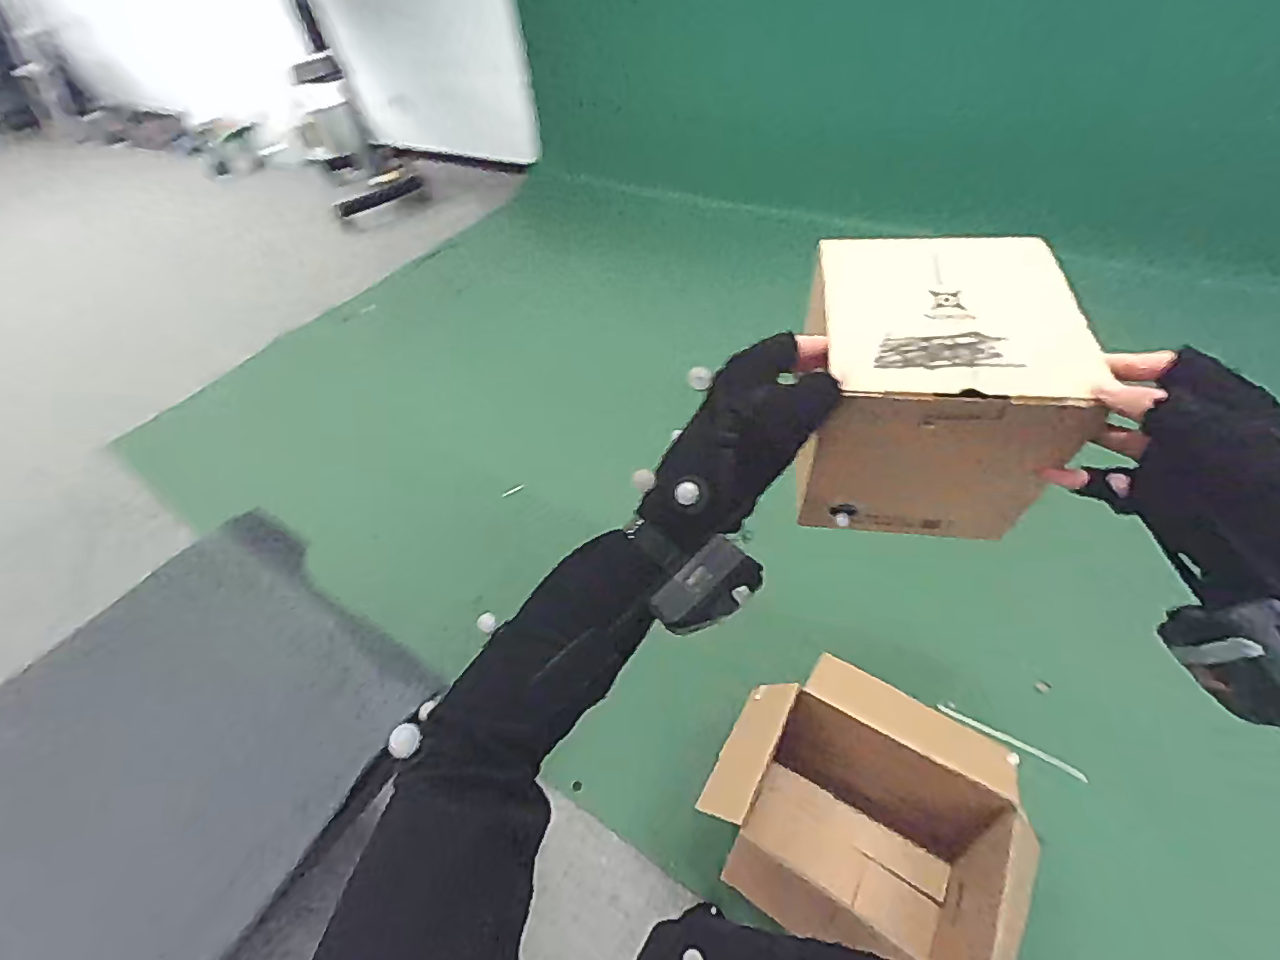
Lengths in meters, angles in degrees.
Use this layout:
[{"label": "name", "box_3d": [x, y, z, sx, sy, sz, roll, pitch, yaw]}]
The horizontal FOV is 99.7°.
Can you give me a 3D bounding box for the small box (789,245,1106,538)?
[{"label": "small box", "box_3d": [0.218, -0.068, 0.445, 0.168, 0.176, 0.179, 3, 54, 9]}]
